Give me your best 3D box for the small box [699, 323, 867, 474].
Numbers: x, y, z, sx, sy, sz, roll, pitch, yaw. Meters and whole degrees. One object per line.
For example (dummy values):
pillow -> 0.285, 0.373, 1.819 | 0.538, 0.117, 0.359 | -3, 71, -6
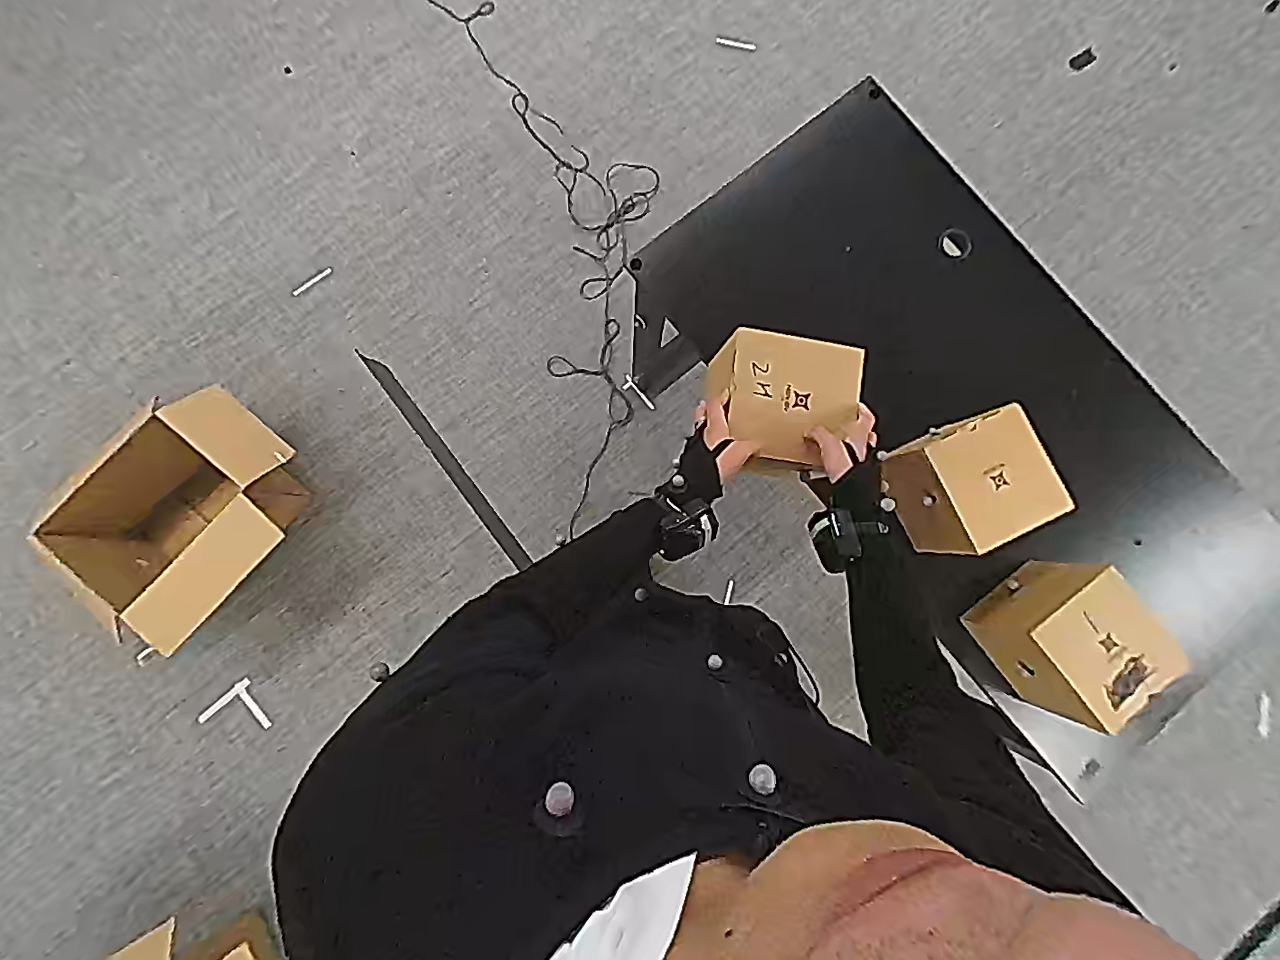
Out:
small box -> 0.193, -0.104, 0.770 | 0.179, 0.176, 0.168 | 8, 85, -4

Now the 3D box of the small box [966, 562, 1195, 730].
small box -> 0.661, 0.240, 0.835 | 0.168, 0.176, 0.179 | -37, 85, -6

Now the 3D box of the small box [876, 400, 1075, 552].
small box -> 0.517, 0.000, 0.860 | 0.168, 0.176, 0.179 | -25, 85, -5
